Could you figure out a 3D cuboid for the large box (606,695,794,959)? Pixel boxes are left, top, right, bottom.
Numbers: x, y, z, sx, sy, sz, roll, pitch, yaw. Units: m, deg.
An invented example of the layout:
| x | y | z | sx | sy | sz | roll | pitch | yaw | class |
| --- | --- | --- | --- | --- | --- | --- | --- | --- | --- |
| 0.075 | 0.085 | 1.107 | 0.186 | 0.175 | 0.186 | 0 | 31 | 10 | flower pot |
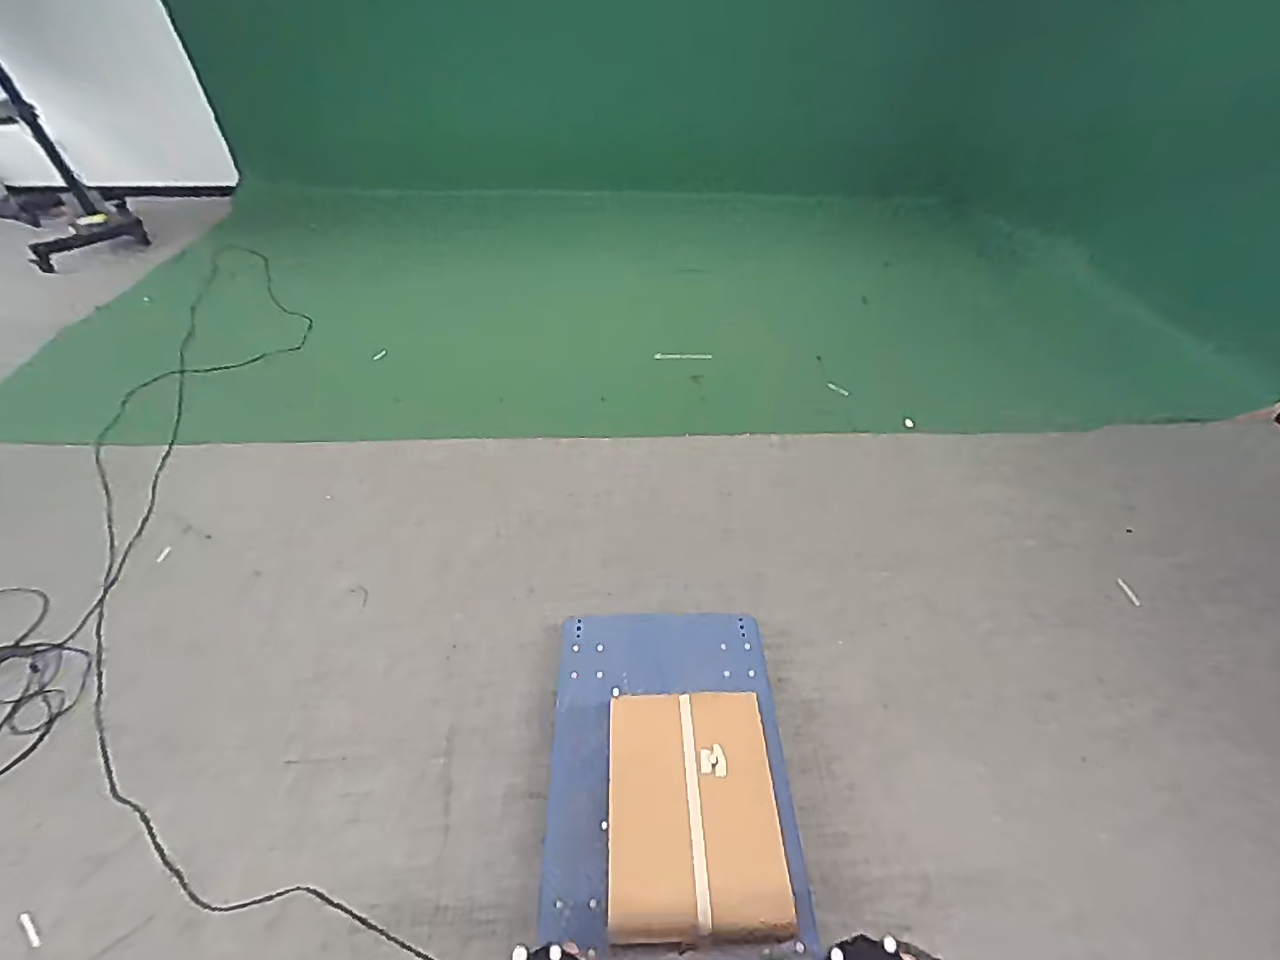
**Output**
| x | y | z | sx | sy | sz | roll | pitch | yaw | class |
| --- | --- | --- | --- | --- | --- | --- | --- | --- | --- |
| 0.093 | 0.714 | 1.125 | 0.320 | 0.320 | 0.408 | 0 | 44 | -2 | large box |
